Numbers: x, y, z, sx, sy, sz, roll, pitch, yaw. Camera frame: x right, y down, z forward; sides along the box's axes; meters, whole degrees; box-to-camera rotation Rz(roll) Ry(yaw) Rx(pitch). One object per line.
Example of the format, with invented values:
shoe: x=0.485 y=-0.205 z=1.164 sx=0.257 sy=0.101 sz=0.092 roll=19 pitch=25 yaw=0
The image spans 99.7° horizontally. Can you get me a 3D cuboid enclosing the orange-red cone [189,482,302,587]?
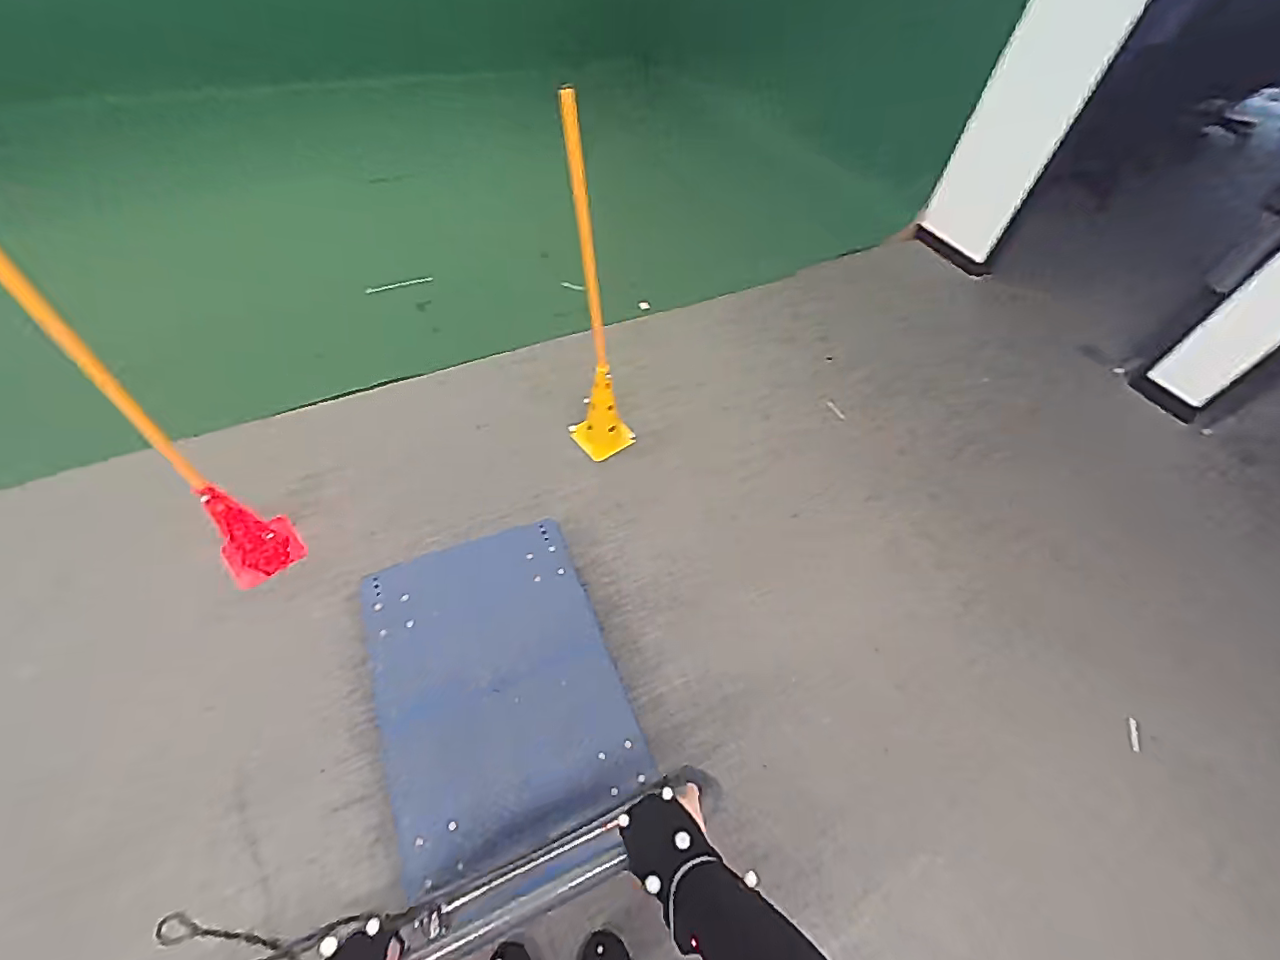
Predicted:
orange-red cone: x=-1.183 y=0.125 z=1.565 sx=0.199 sy=0.360 sz=0.198 roll=-36 pitch=63 yaw=-25
